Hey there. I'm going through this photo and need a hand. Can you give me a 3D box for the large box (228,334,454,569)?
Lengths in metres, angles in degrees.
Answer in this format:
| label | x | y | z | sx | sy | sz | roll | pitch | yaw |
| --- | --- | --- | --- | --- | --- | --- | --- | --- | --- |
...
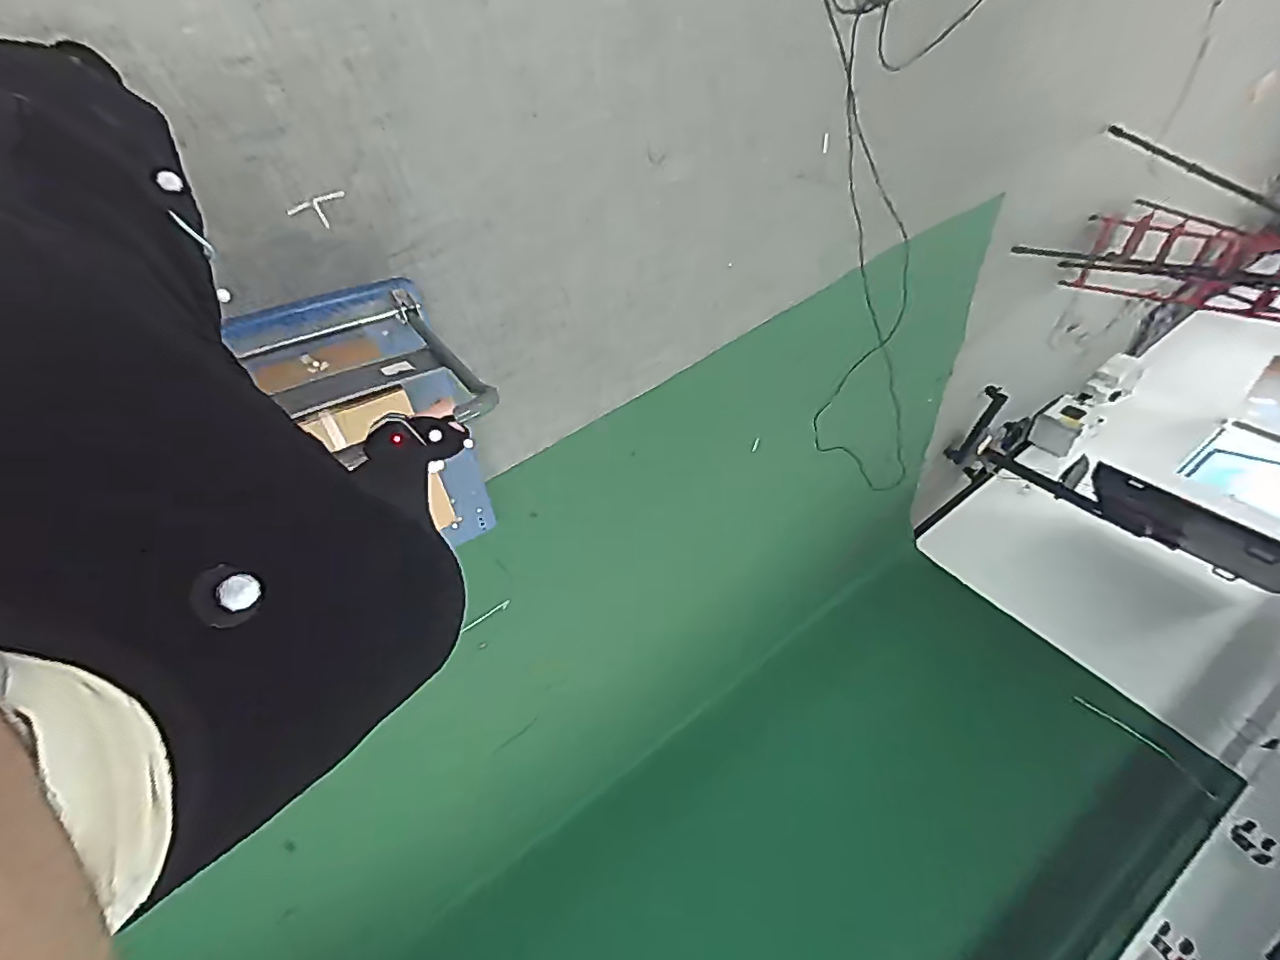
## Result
| label | x | y | z | sx | sy | sz | roll | pitch | yaw |
| --- | --- | --- | --- | --- | --- | --- | --- | --- | --- |
| large box | -0.701 | -0.074 | 1.298 | 0.320 | 0.320 | 0.408 | -26 | 137 | -23 |
